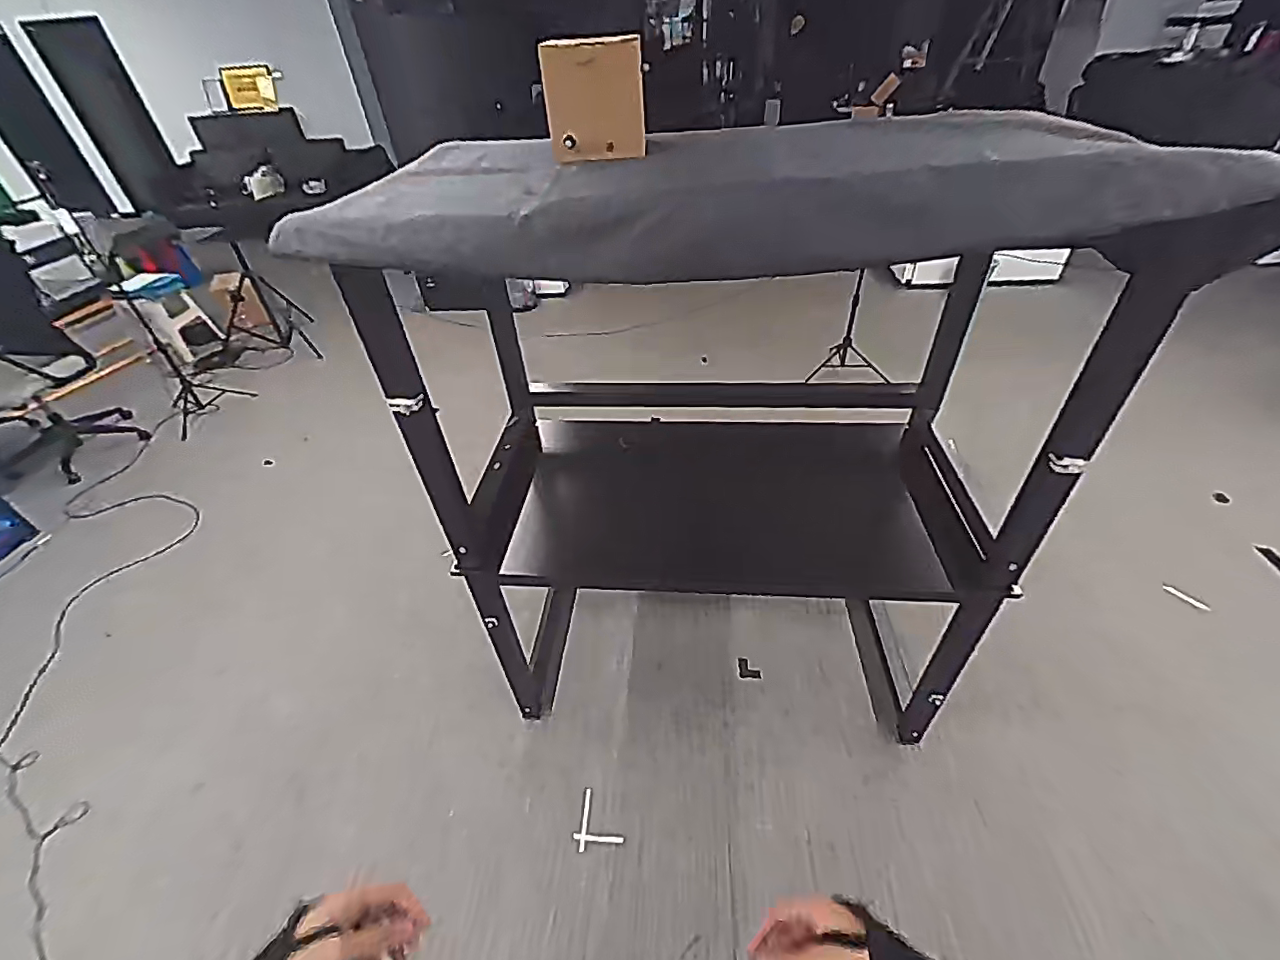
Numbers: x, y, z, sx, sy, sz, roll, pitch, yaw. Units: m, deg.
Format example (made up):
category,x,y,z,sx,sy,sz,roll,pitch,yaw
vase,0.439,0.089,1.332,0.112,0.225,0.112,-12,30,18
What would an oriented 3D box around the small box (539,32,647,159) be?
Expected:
category,x,y,z,sx,sy,sz,roll,pitch,yaw
small box,-0.074,-0.688,0.974,0.168,0.176,0.179,-2,40,3
